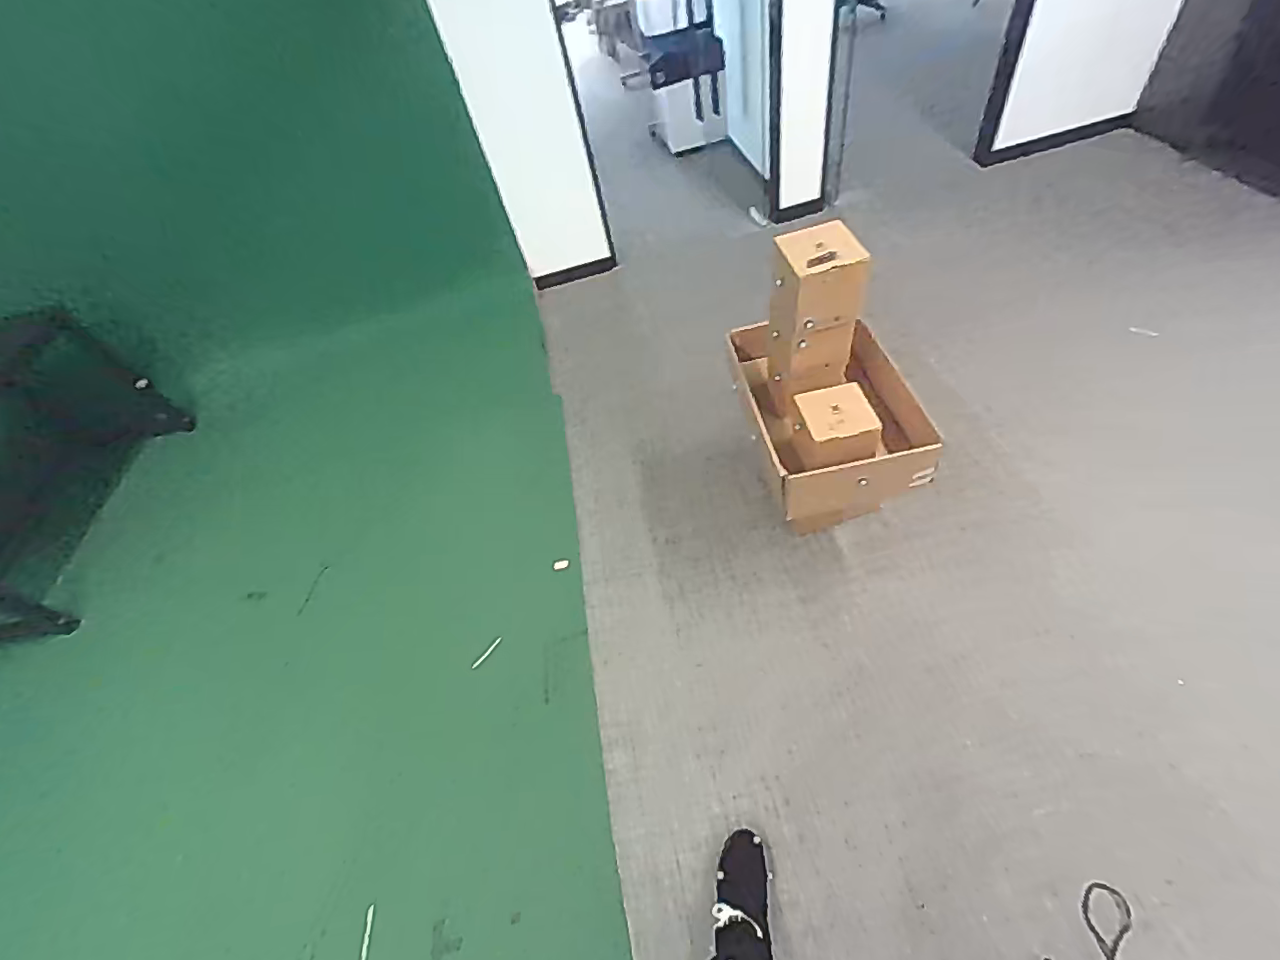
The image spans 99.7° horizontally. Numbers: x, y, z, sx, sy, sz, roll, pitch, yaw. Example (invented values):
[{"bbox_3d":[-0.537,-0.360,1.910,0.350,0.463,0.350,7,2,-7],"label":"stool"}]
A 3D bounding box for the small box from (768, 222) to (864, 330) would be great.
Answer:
[{"bbox_3d":[0.417,-0.483,1.306,0.168,0.176,0.179,-15,52,2],"label":"small box"}]

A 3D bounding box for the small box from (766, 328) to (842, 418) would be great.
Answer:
[{"bbox_3d":[0.471,-0.310,1.581,0.168,0.176,0.179,-13,53,3],"label":"small box"}]

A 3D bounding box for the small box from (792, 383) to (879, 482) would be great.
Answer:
[{"bbox_3d":[0.501,-0.122,1.414,0.168,0.176,0.179,-13,49,4],"label":"small box"}]
